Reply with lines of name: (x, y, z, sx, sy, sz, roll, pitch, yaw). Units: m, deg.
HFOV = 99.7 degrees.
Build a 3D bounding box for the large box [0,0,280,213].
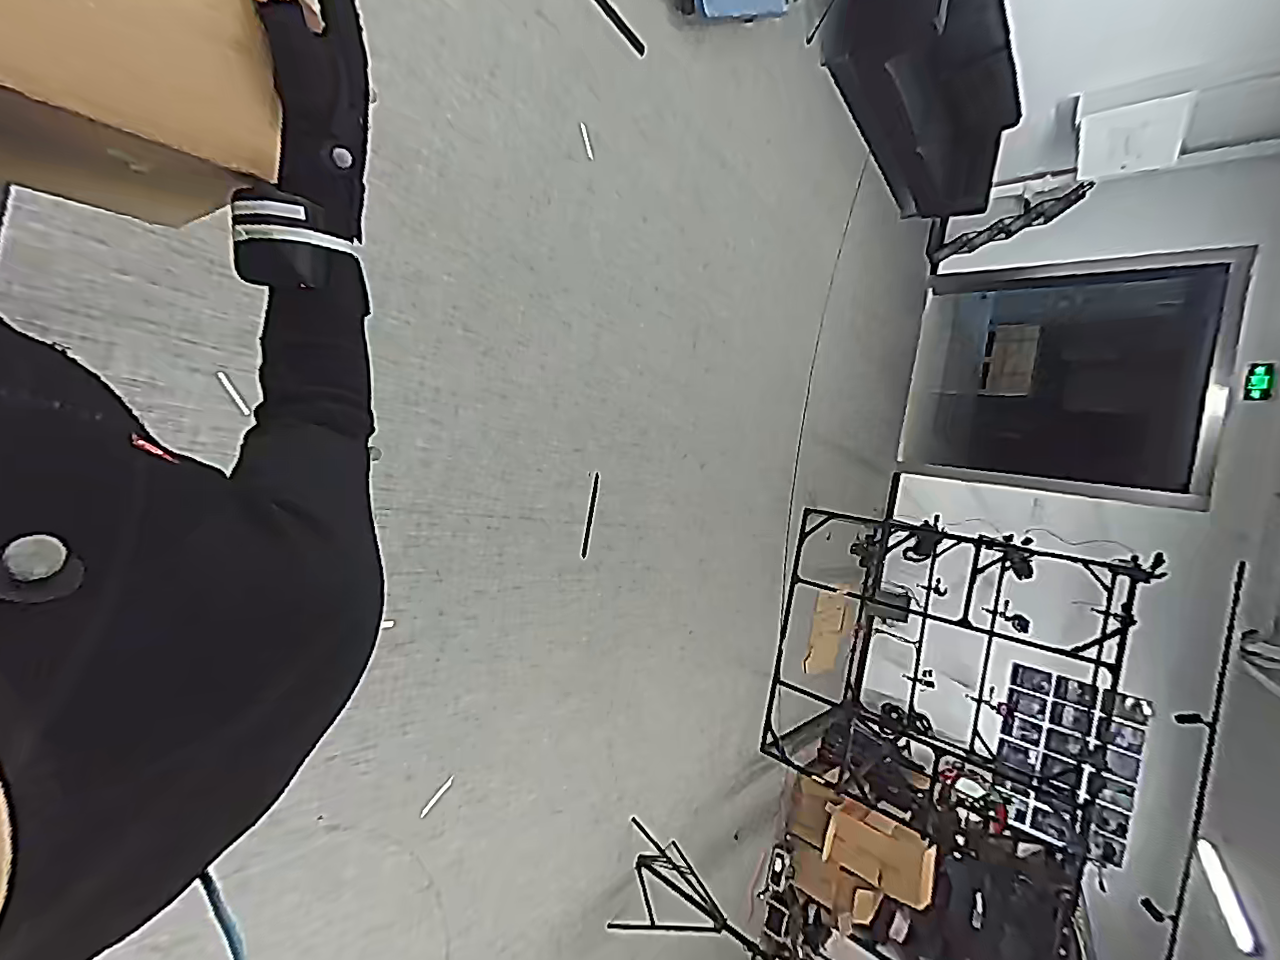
large box: (-0.491, -0.401, 0.316, 0.408, 0.320, 0.320, -1, 102, -51)
